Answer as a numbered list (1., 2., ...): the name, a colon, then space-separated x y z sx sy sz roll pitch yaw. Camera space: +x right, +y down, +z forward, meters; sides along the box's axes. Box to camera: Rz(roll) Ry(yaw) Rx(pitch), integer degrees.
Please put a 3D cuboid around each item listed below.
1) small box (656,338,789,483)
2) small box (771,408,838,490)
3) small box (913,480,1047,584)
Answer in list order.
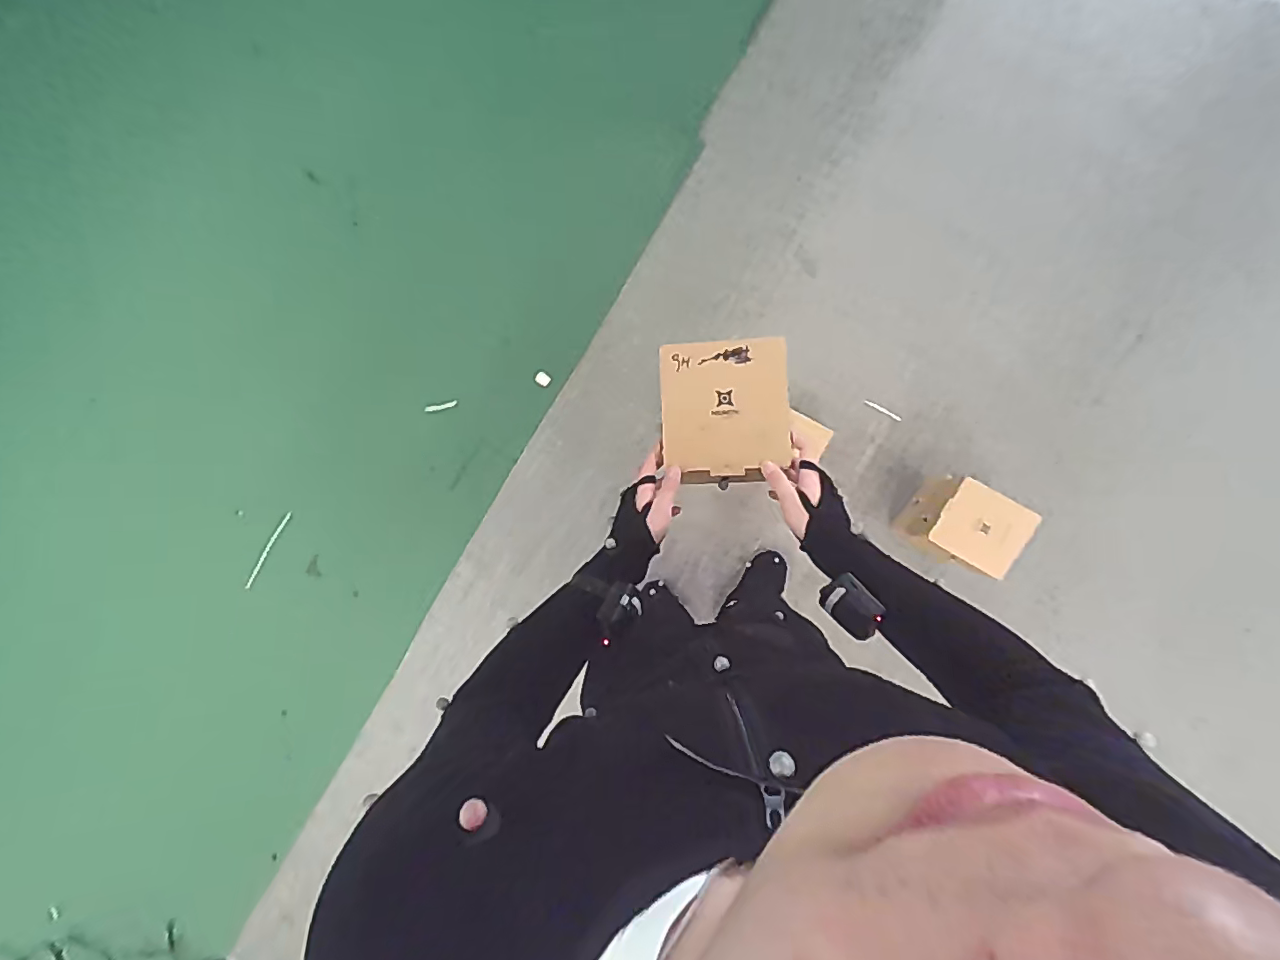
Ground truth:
1. small box: 0.114 -0.087 0.777 0.168 0.176 0.179 -4 84 5
2. small box: 0.419 -0.080 1.502 0.179 0.176 0.168 31 92 12
3. small box: 0.768 0.118 1.246 0.179 0.176 0.168 33 93 11
